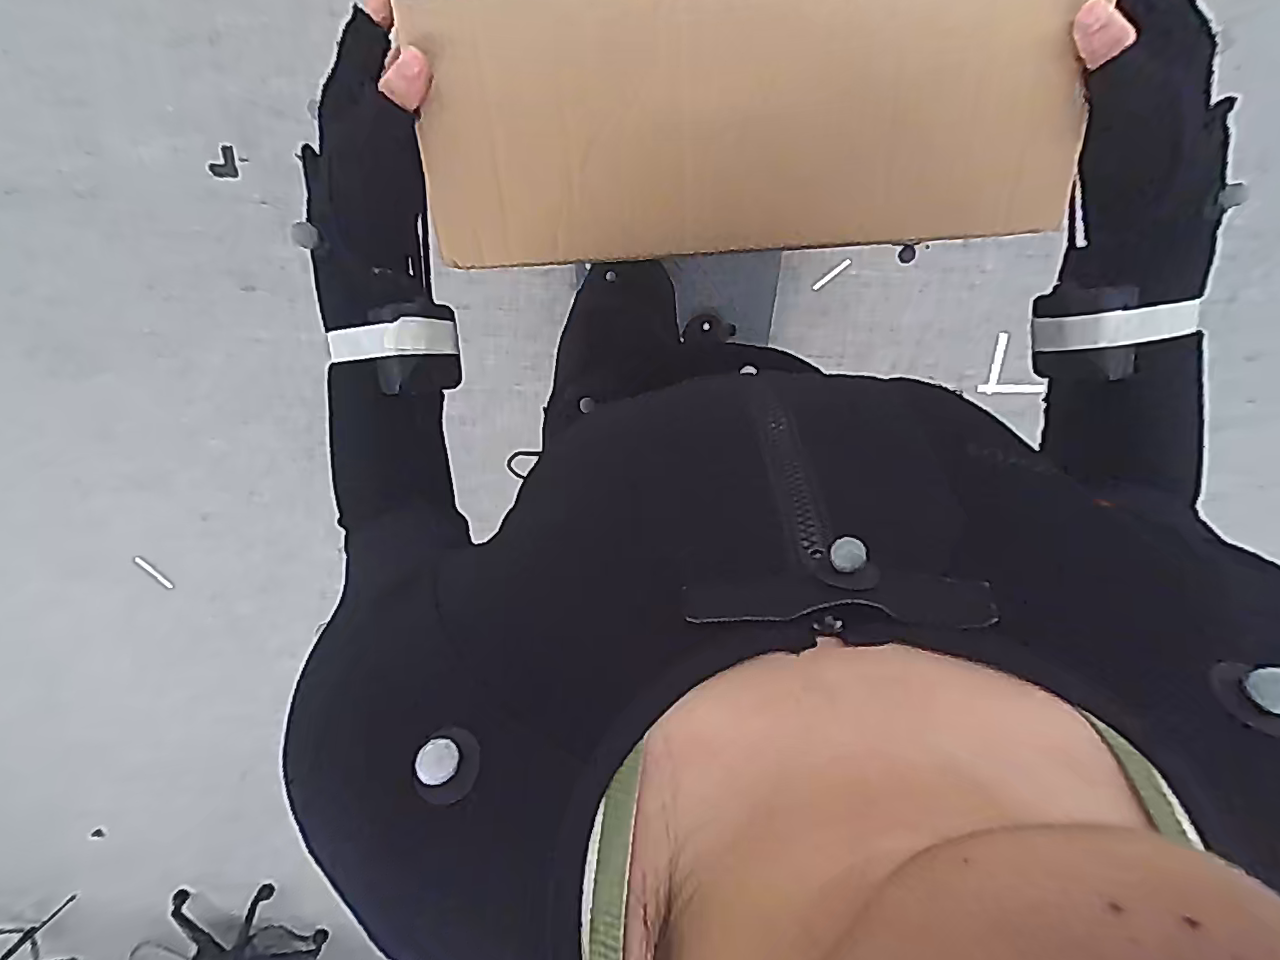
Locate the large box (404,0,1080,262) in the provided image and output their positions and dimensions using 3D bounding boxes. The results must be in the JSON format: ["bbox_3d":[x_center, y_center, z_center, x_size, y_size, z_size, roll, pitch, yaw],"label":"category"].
[{"bbox_3d":[0.062,-0.366,0.443,0.408,0.320,0.320,-2,113,3],"label":"large box"}]
